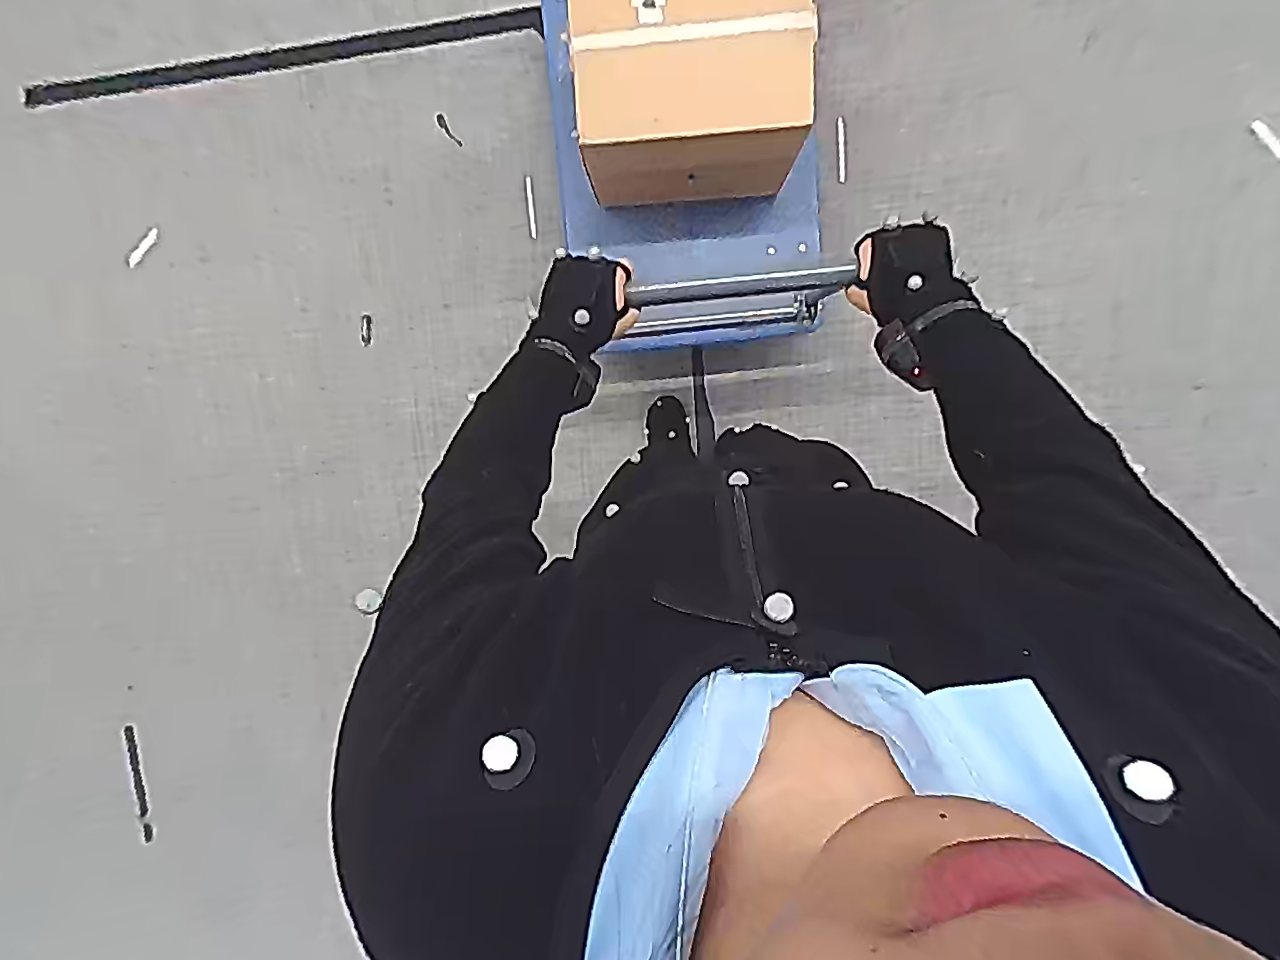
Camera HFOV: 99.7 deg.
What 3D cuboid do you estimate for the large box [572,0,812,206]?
[{"bbox_3d":[0.098,-0.768,1.065,0.408,0.320,0.320,-3,97,4],"label":"large box"}]
